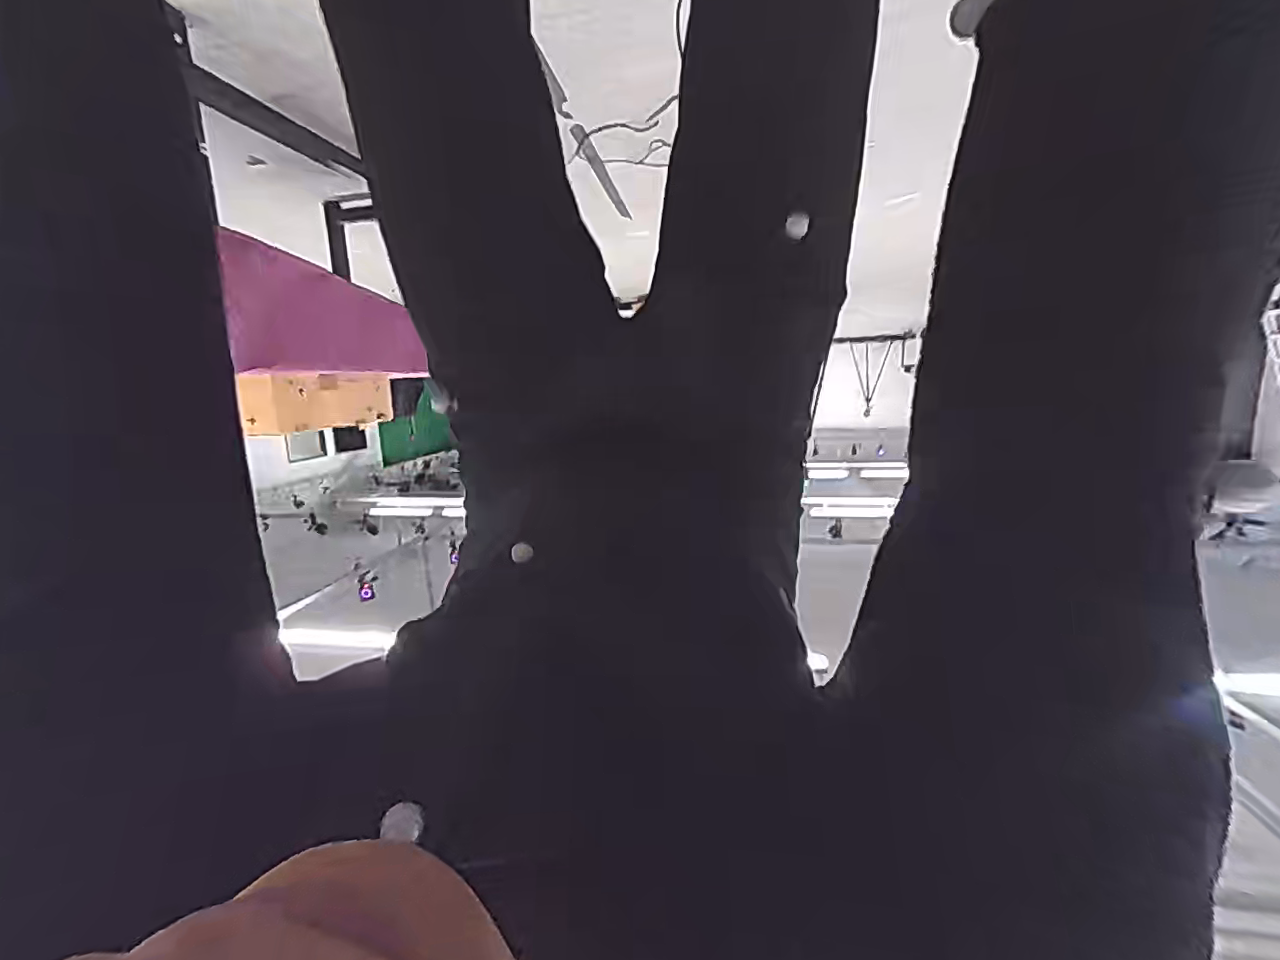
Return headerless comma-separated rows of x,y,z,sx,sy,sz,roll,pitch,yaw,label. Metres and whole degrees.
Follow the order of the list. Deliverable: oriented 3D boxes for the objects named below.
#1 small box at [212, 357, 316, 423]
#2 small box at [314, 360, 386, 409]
-1.050,-0.251,1.512,0.179,0.176,0.168,0,-168,11,small box
-1.080,-0.355,2.010,0.179,0.176,0.168,-1,-167,9,small box
